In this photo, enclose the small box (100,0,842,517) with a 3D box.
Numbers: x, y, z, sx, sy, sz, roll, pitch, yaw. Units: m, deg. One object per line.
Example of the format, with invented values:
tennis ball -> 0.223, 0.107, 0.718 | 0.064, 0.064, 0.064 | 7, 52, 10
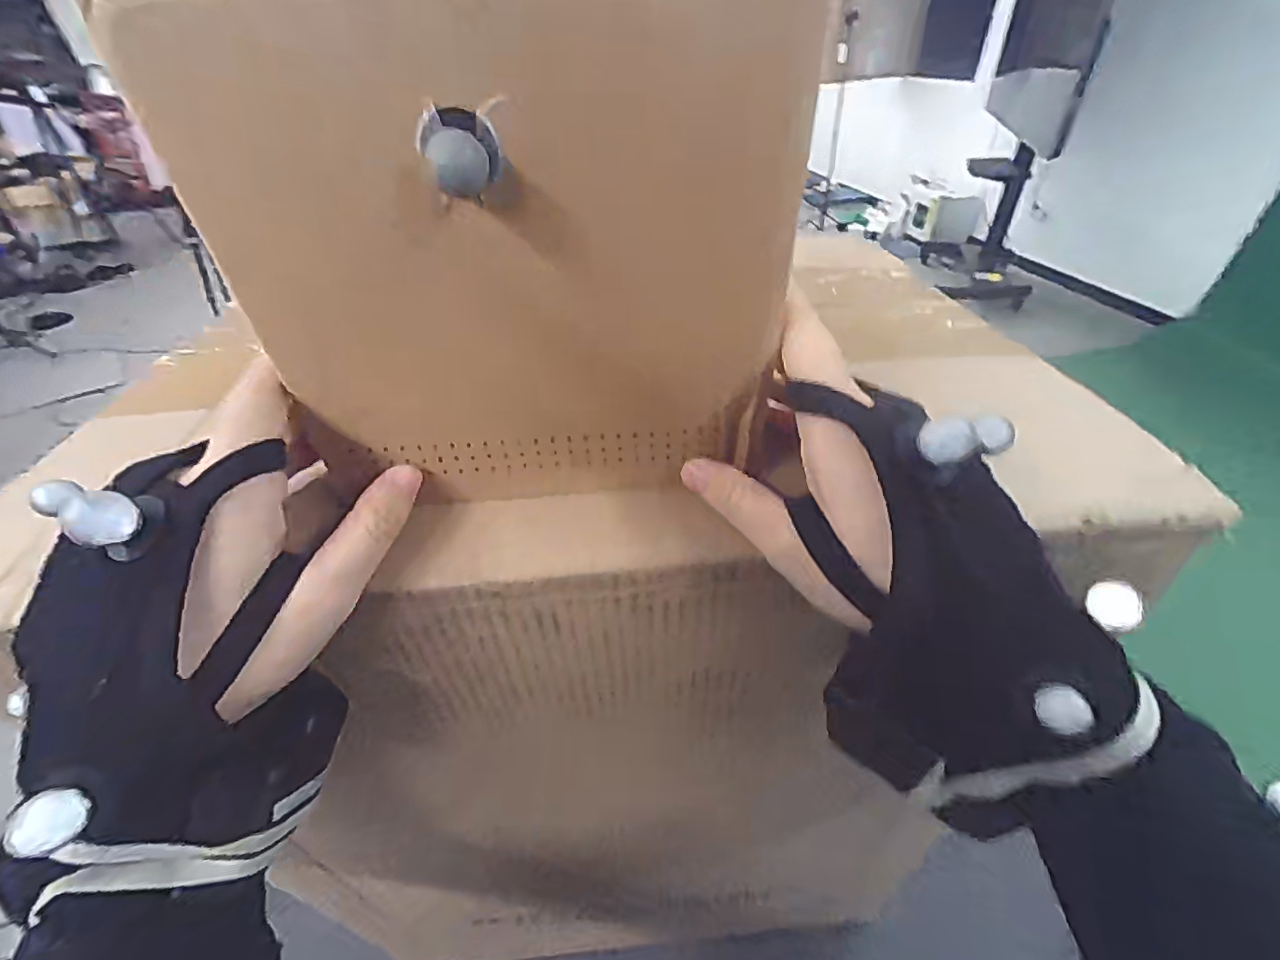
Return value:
small box -> -0.040, -0.100, 0.237 | 0.179, 0.176, 0.168 | -4, 43, -1
